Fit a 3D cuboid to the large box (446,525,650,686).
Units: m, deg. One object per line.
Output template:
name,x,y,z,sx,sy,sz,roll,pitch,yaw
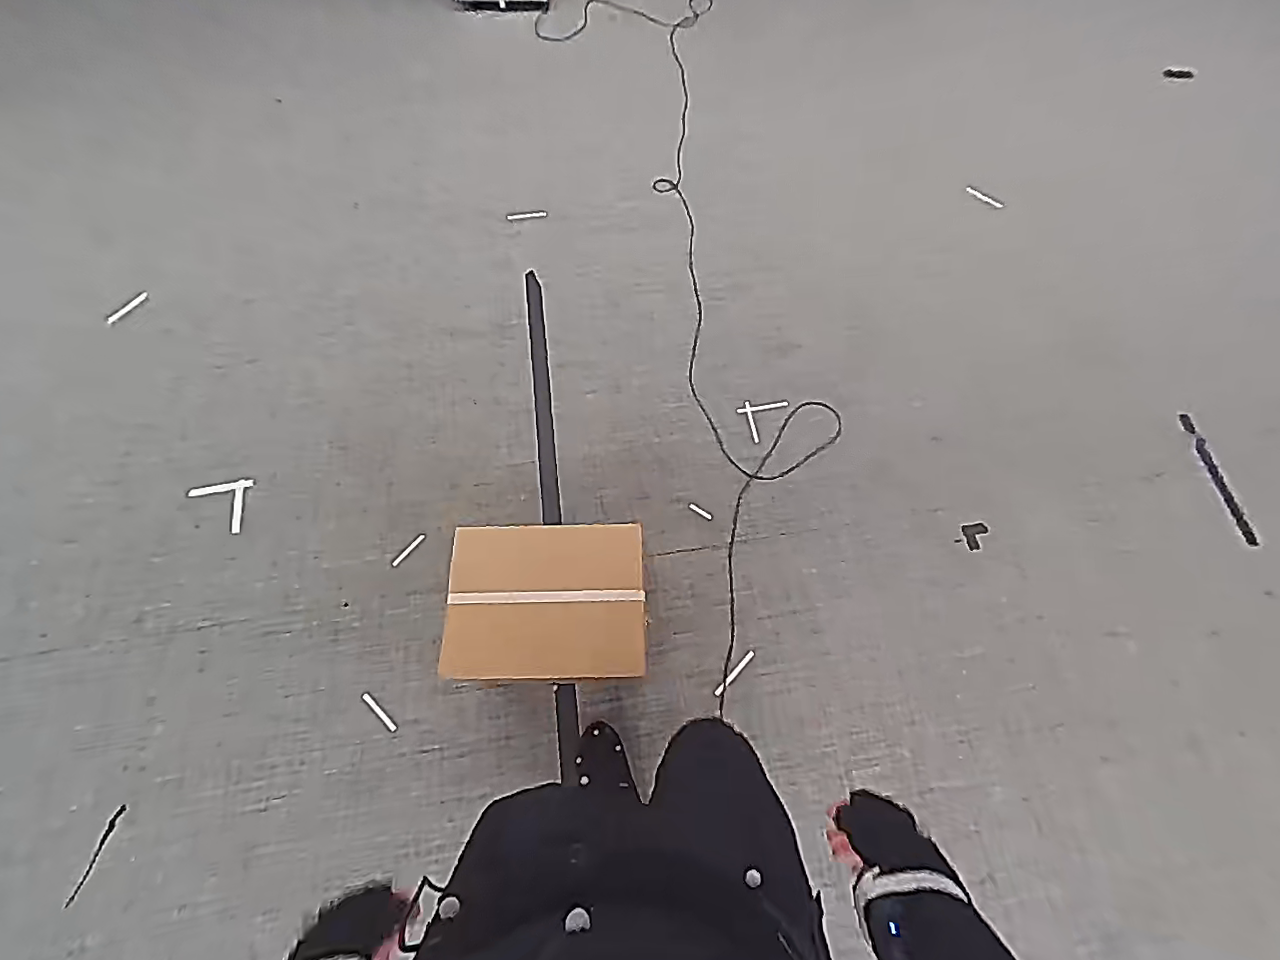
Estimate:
large box,-0.185,0.300,1.243,0.408,0.320,0.320,-1,69,0
